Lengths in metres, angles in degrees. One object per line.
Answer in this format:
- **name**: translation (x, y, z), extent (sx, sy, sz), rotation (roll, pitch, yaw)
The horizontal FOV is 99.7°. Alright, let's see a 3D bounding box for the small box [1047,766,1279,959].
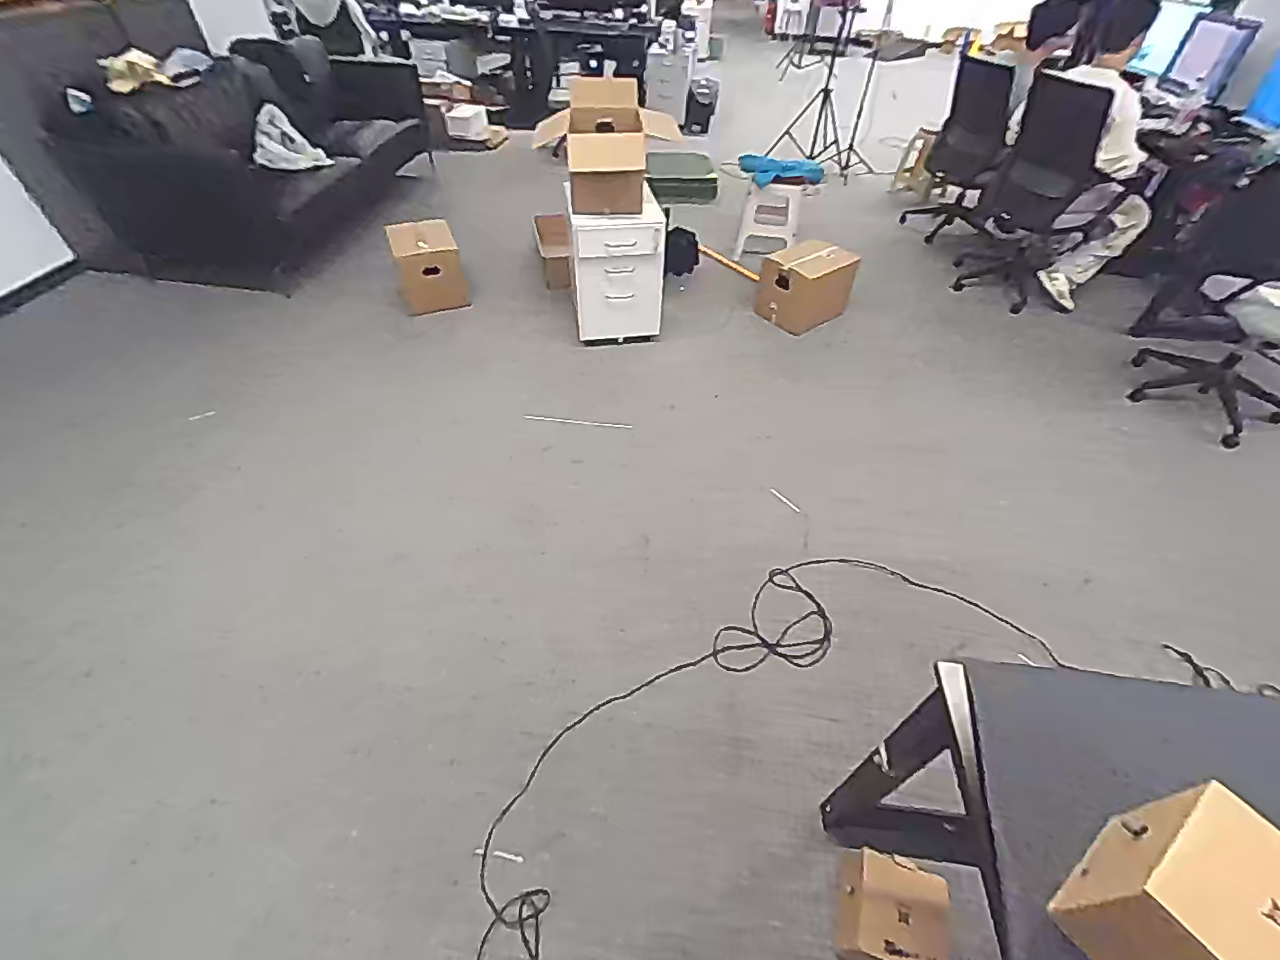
- **small box**: translation (0.569, 0.438, 0.544), extent (0.168, 0.176, 0.179), rotation (-26, 53, -24)

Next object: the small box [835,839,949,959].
- **small box**: translation (0.515, 0.888, 1.118), extent (0.168, 0.176, 0.179), rotation (15, 47, 13)
